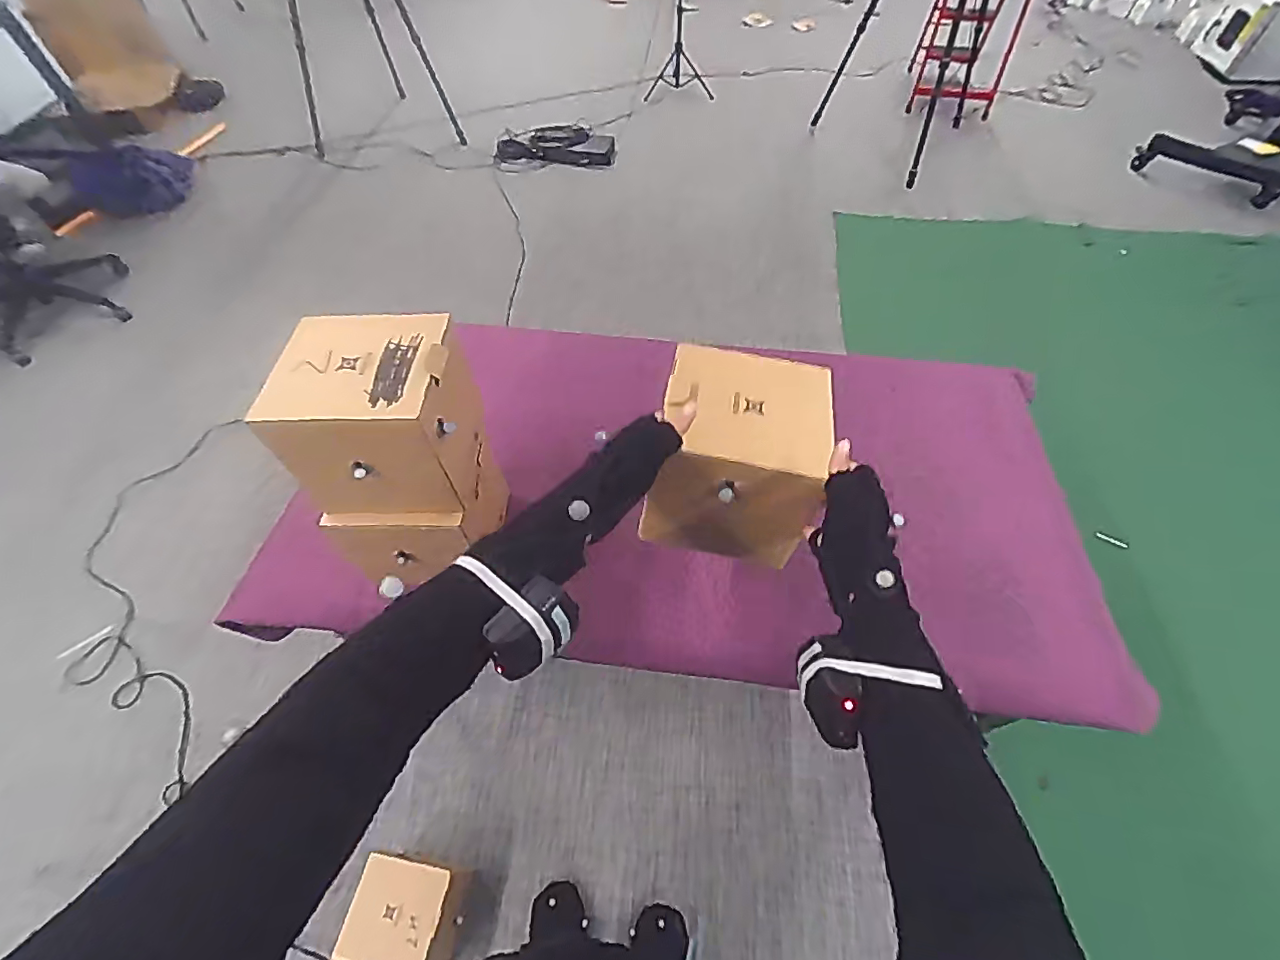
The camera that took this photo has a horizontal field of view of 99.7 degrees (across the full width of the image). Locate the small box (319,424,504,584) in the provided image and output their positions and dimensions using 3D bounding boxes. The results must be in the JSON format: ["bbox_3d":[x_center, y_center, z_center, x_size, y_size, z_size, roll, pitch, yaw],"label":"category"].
[{"bbox_3d":[-0.302,0.038,0.765,0.179,0.176,0.168,1,54,1],"label":"small box"}]

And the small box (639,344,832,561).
[{"bbox_3d":[0.104,-0.025,0.623,0.179,0.176,0.168,12,52,3],"label":"small box"}]
